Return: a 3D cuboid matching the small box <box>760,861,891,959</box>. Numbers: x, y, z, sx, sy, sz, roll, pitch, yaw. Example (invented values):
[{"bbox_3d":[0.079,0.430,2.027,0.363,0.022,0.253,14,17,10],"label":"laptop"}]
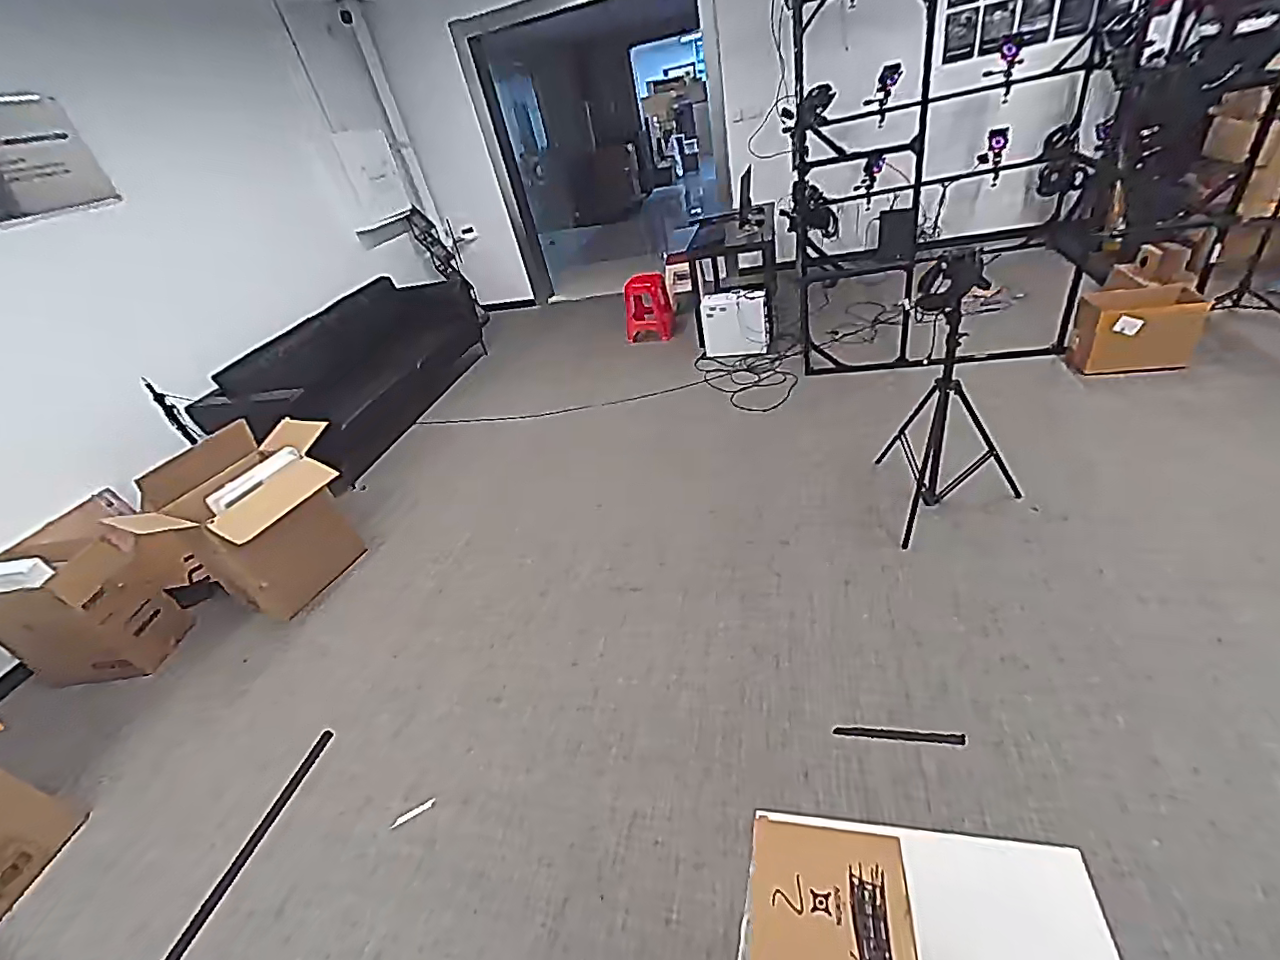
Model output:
[{"bbox_3d":[0.259,0.677,0.755,0.168,0.176,0.179,-2,36,16],"label":"small box"}]
